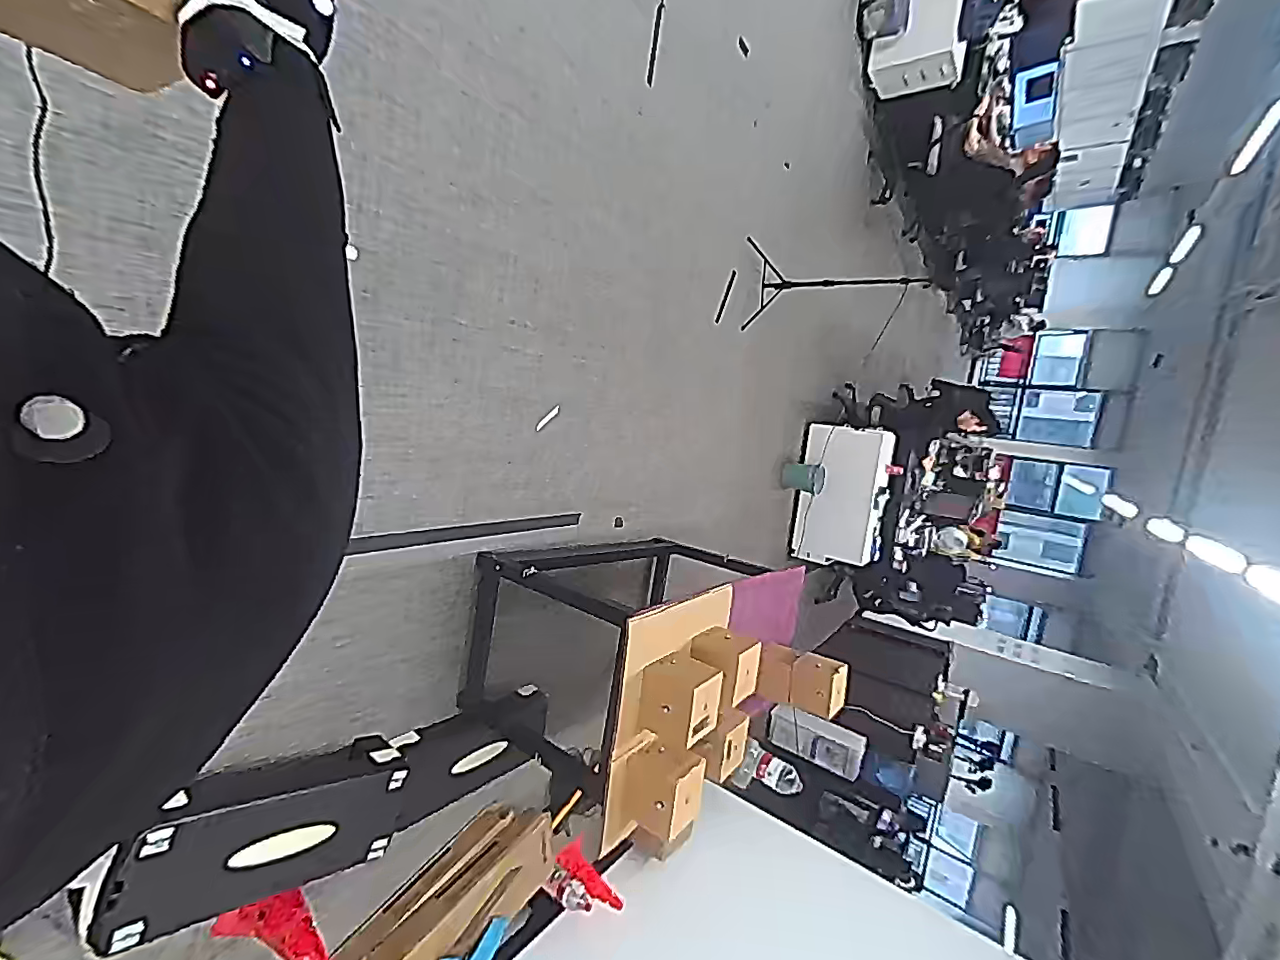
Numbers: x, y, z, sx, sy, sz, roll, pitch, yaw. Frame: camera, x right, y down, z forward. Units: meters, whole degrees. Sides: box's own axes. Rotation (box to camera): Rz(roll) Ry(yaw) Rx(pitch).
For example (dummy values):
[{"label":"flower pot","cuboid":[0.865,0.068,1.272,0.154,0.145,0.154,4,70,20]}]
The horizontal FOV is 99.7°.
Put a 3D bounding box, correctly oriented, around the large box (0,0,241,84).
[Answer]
[{"label":"large box","cuboid":[-0.524,-0.534,0.334,0.408,0.320,0.320,0,109,-53]}]
